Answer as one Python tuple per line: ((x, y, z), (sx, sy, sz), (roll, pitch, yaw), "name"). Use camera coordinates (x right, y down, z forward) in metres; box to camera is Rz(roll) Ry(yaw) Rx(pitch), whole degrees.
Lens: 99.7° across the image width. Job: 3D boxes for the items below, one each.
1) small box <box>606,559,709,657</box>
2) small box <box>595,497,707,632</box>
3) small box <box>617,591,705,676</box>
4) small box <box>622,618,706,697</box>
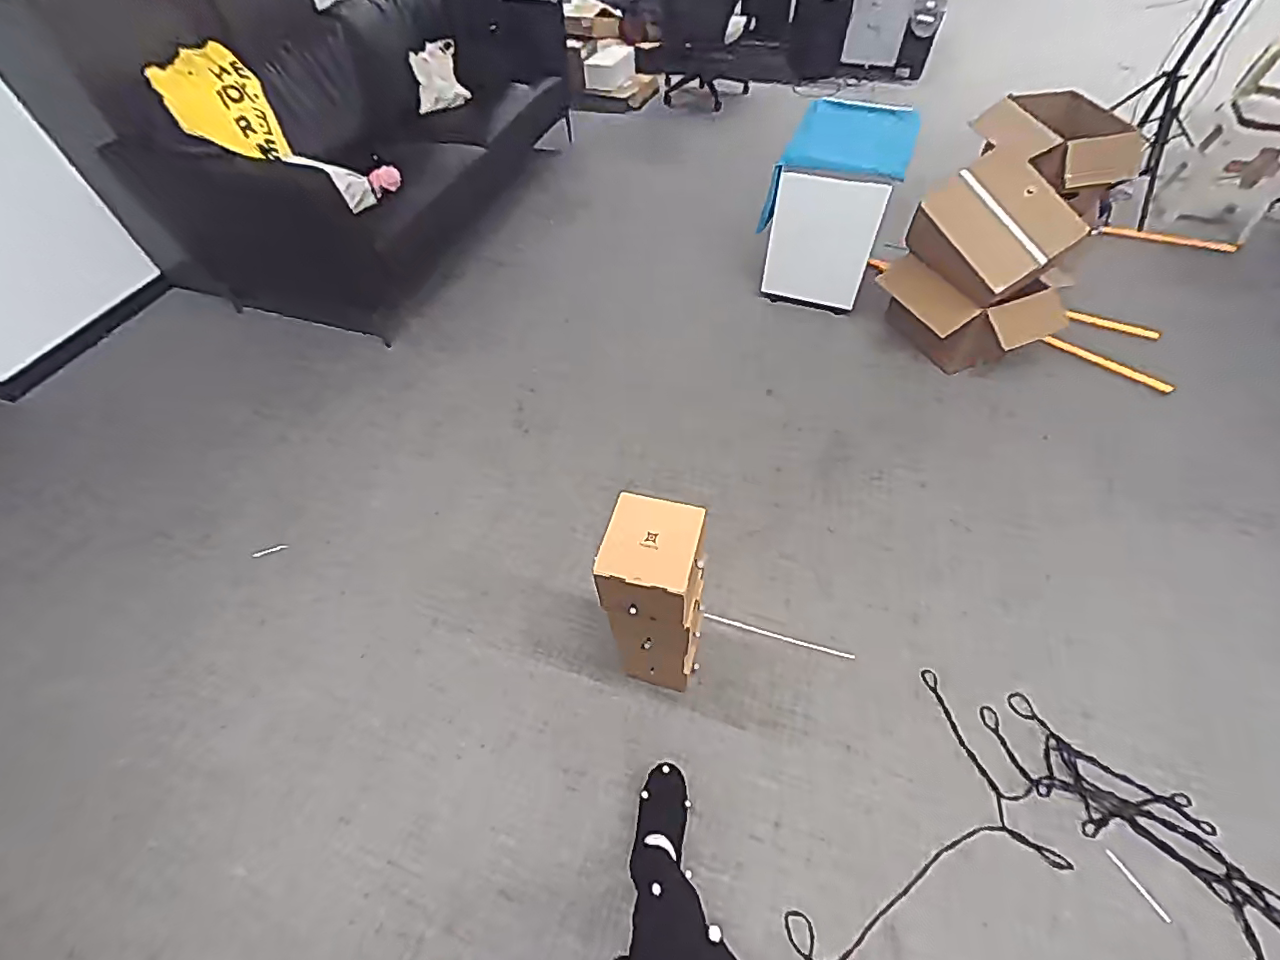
((0.040, 0.259, 1.149), (0.179, 0.176, 0.168), (12, 54, 11), "small box")
((0.025, 0.161, 1.019), (0.168, 0.176, 0.179), (11, 55, 12), "small box")
((0.048, 0.346, 1.288), (0.179, 0.176, 0.168), (13, 55, 13), "small box")
((0.065, 0.448, 1.415), (0.179, 0.176, 0.168), (13, 54, 12), "small box")
